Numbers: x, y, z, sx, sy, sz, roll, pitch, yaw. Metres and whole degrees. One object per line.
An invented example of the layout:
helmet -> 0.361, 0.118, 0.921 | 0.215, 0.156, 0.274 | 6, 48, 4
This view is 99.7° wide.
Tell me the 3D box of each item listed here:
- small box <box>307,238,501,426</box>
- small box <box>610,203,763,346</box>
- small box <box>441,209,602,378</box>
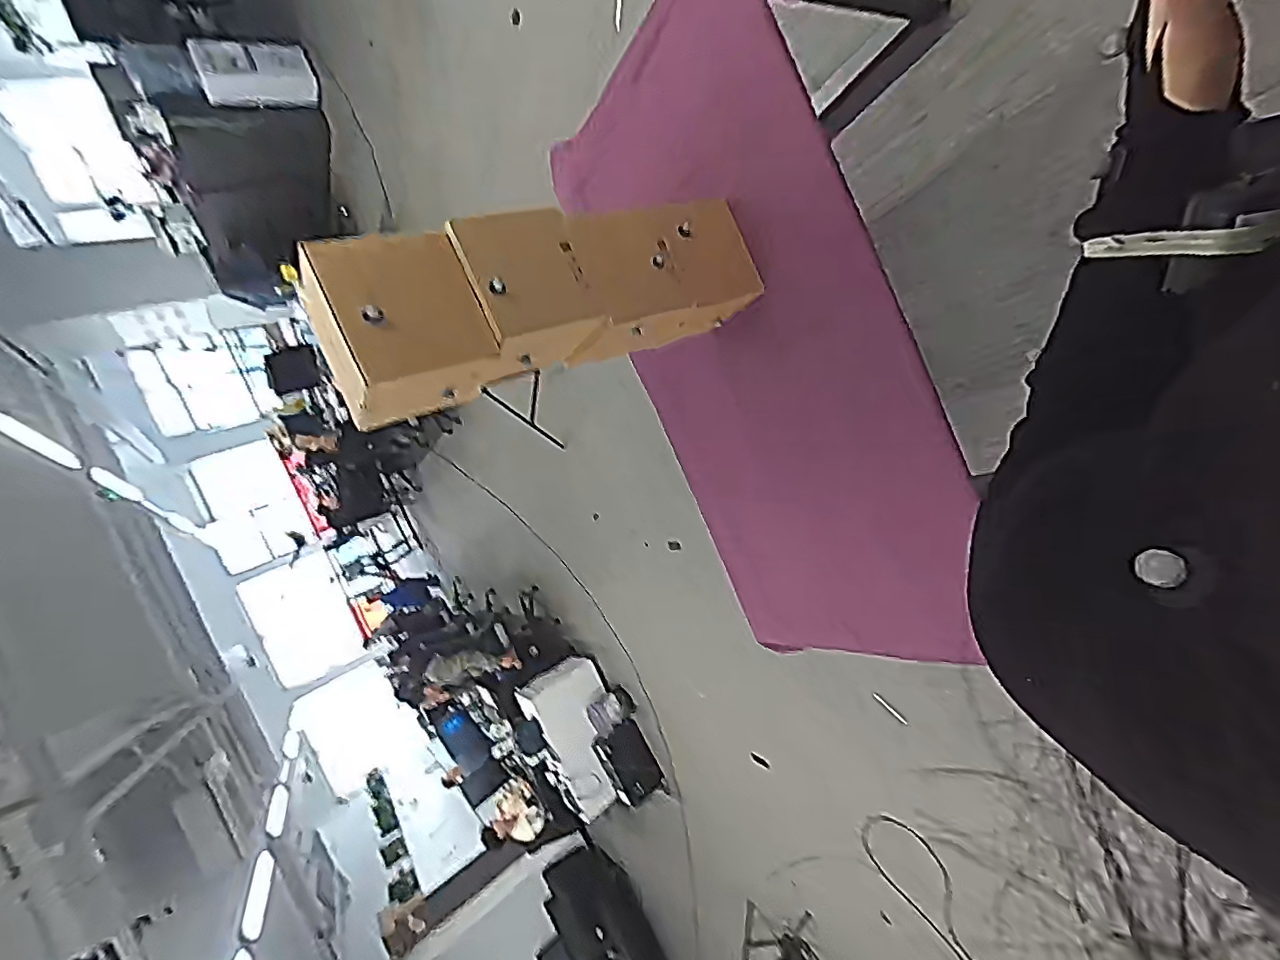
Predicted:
small box -> -0.309, -0.195, 0.708 | 0.168, 0.176, 0.179 | -24, 91, 58
small box -> 0.081, -0.364, 0.954 | 0.168, 0.176, 0.179 | -23, 93, 59
small box -> -0.180, -0.262, 0.783 | 0.179, 0.176, 0.168 | -23, 92, 59
